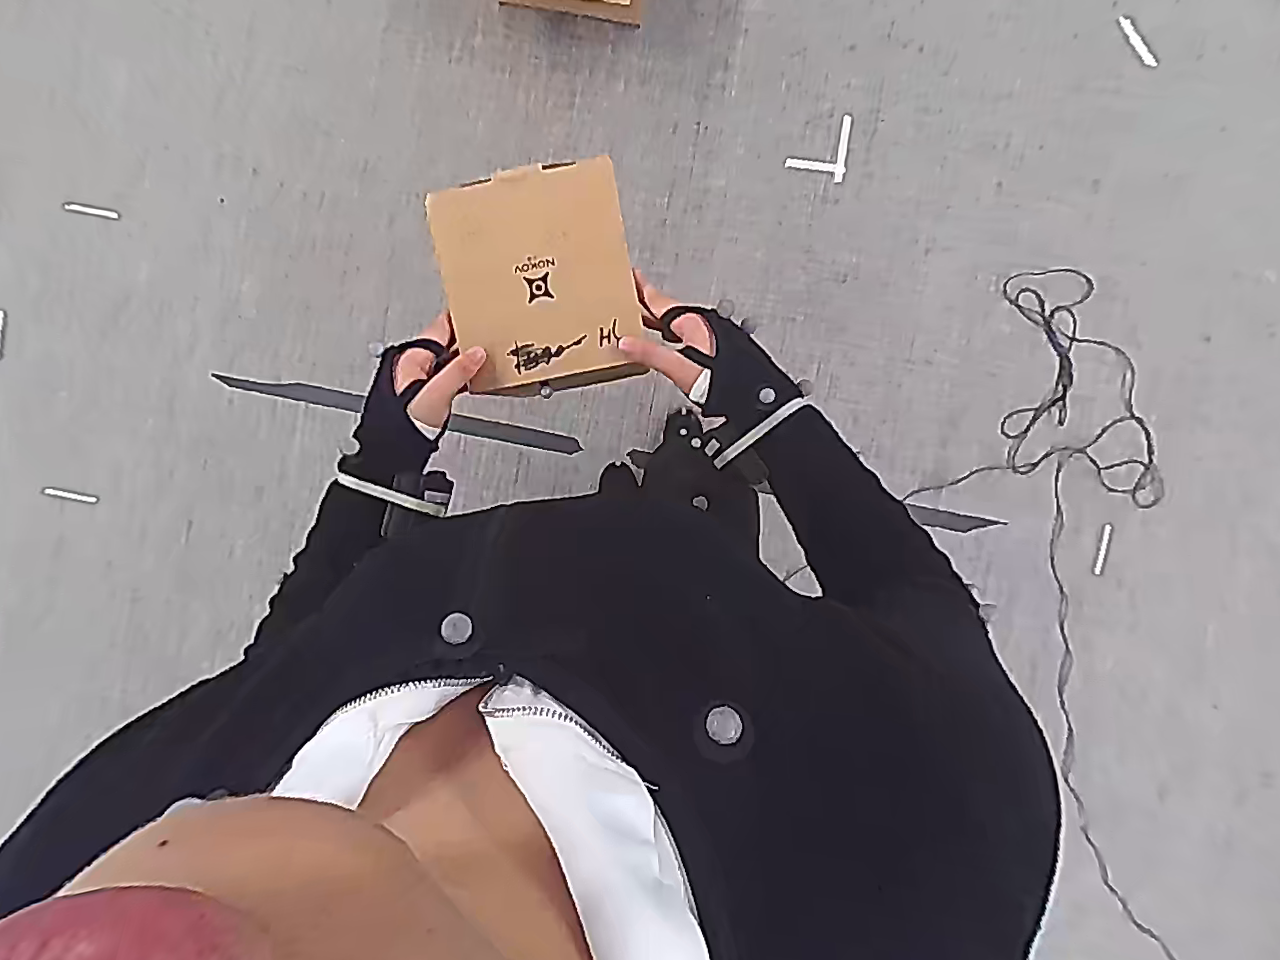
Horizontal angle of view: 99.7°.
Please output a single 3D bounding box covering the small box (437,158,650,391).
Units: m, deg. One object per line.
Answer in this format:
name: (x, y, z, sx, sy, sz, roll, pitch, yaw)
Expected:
small box: (-0.084, -0.193, 0.559, 0.168, 0.176, 0.179, -10, 98, 3)
